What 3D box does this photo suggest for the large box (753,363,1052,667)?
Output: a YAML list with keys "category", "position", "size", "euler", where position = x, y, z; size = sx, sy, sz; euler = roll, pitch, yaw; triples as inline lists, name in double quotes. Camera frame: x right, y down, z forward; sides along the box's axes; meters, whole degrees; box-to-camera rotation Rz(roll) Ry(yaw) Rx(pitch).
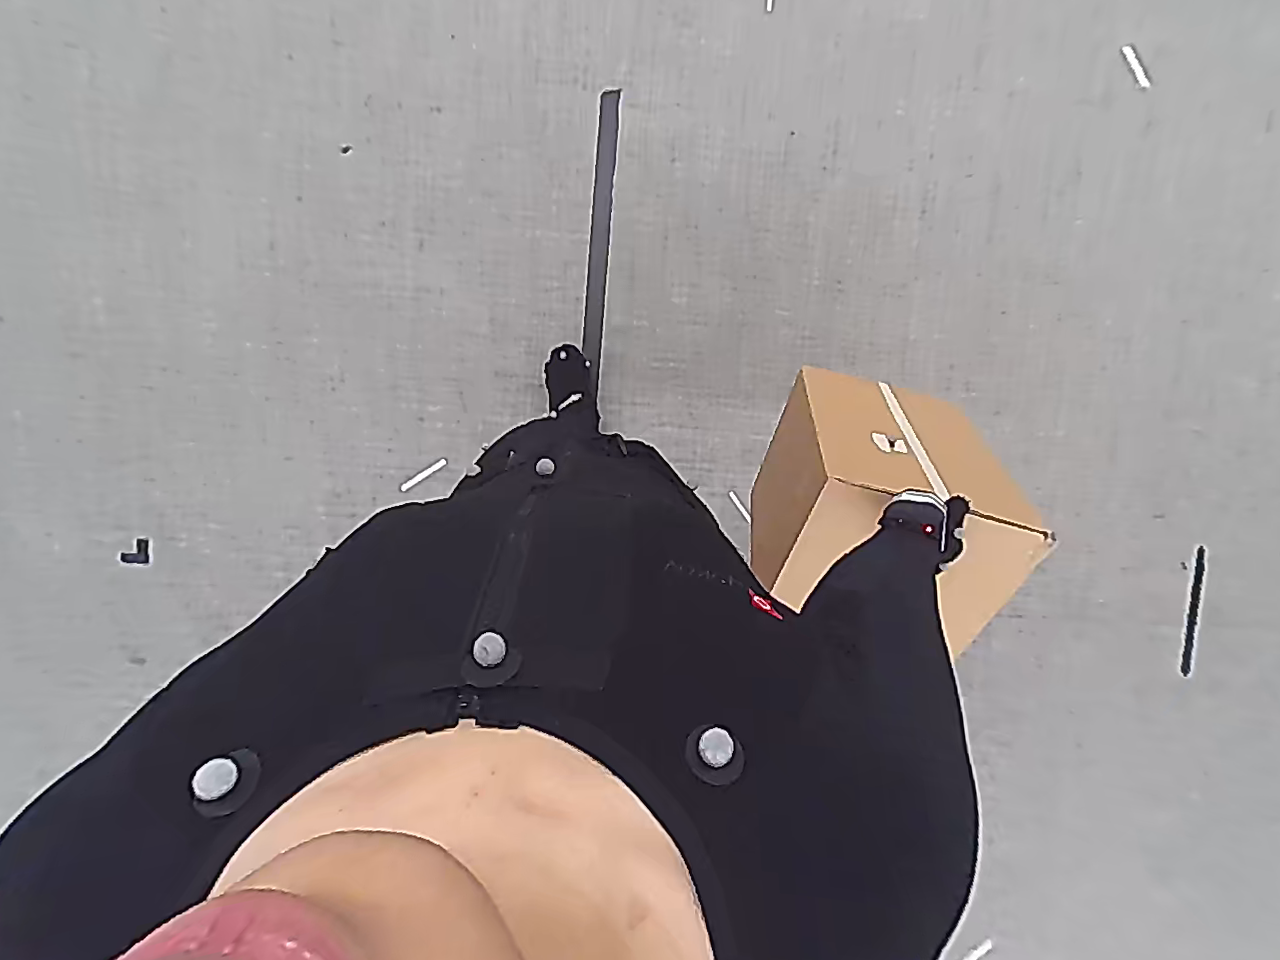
- category: "large box"
  position: [0.400, 0.044, 0.963]
  size: [0.320, 0.408, 0.320]
  euler: [15, 126, 1]
